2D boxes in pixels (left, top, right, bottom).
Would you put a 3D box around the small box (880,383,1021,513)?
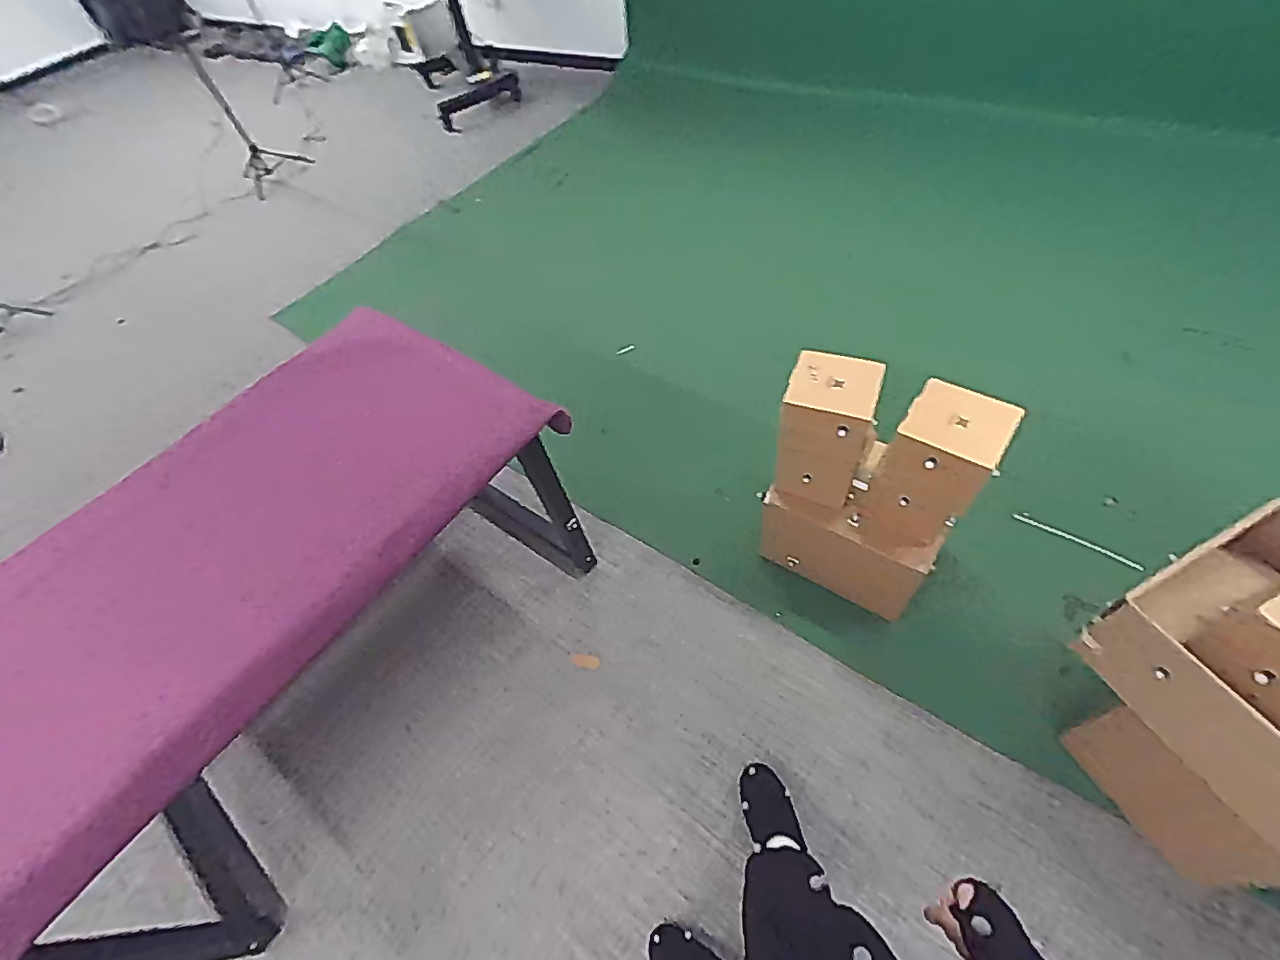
[{"bbox_3d":[0.612,-0.058,1.086,0.179,0.176,0.168,28,65,28],"label":"small box"}]
